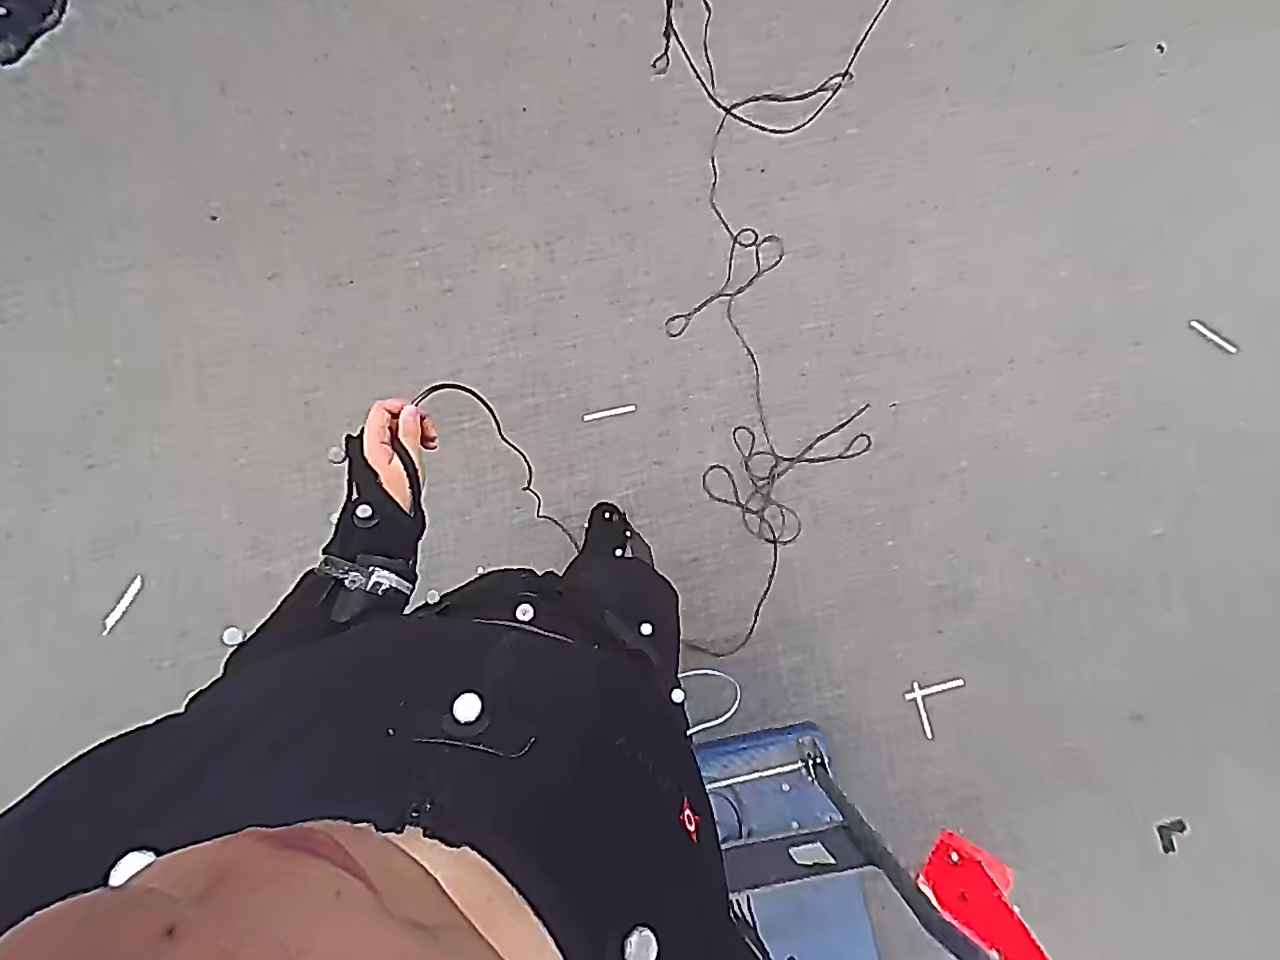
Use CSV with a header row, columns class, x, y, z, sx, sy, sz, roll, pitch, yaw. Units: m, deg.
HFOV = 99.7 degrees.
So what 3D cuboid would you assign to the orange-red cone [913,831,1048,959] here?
class,x,y,z,sx,sy,sz,roll,pitch,yaw
orange-red cone,0.778,0.963,1.129,0.198,0.360,0.199,32,87,3
